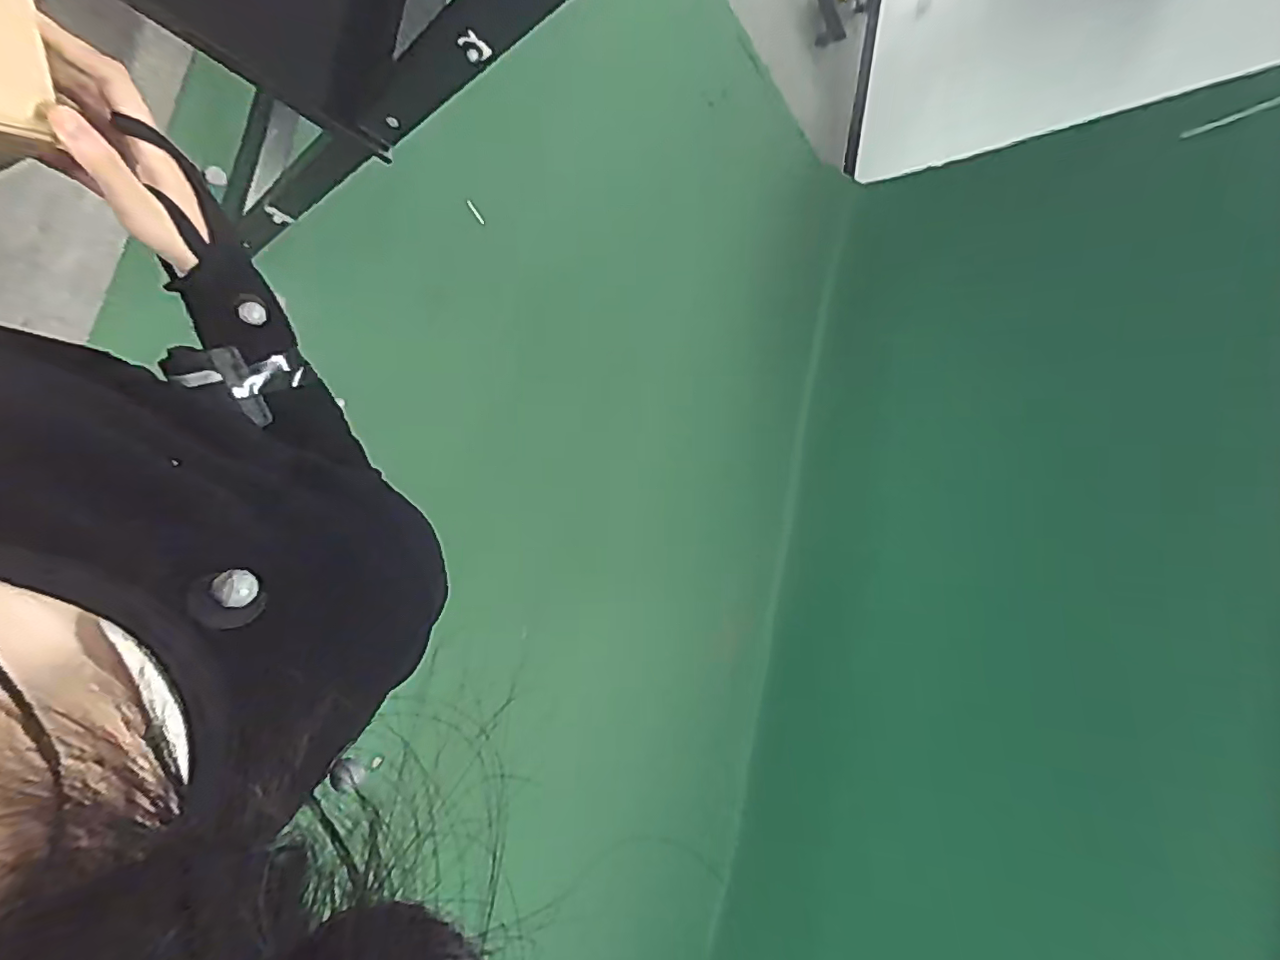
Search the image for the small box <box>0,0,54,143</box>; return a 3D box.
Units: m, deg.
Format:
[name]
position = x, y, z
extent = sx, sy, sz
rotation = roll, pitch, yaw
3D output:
[small box]
position = -0.395, -0.245, 0.216
extent = 0.168, 0.176, 0.179
rotation = -23, 116, -59
